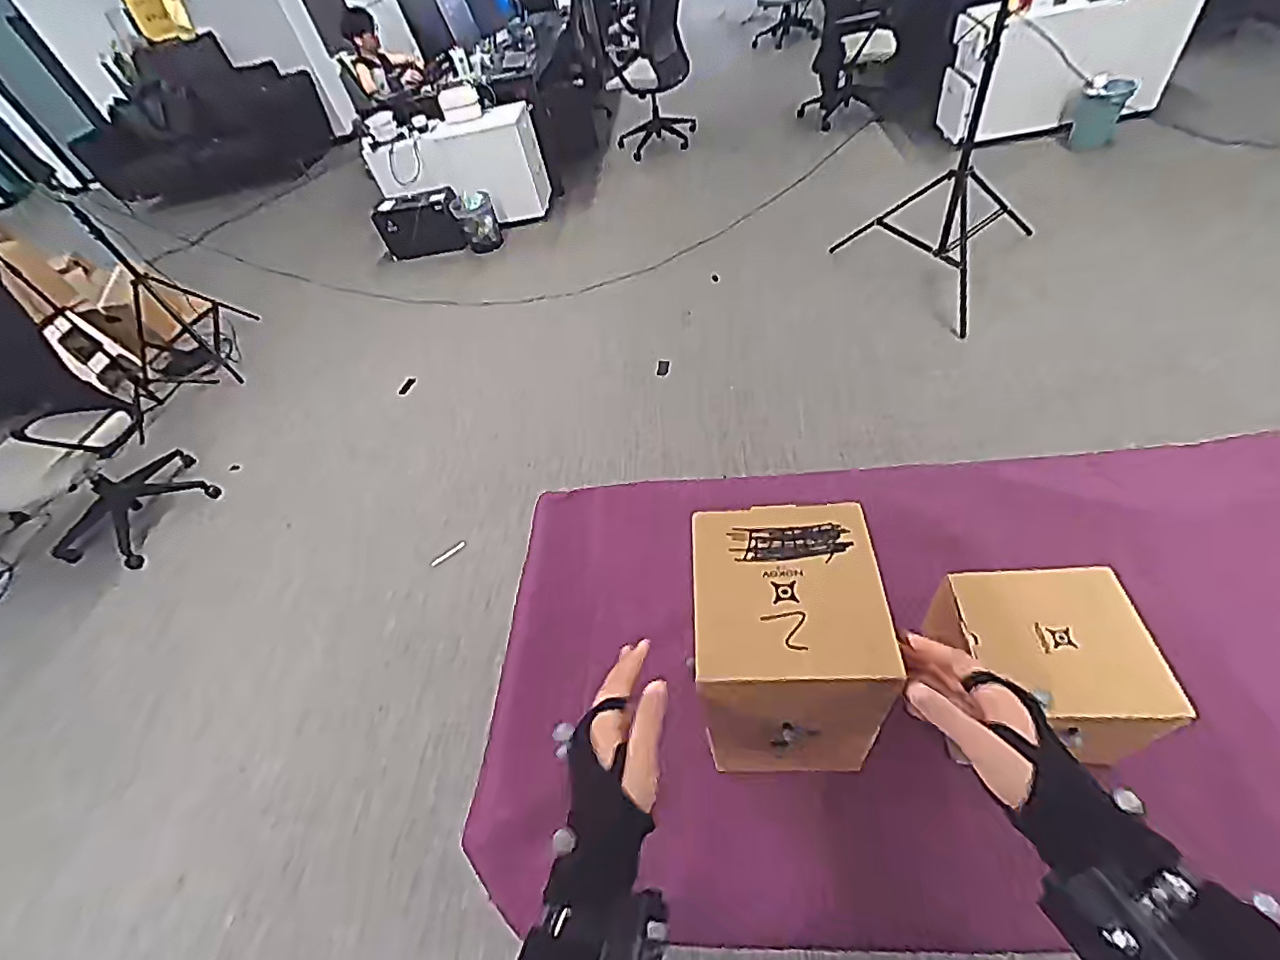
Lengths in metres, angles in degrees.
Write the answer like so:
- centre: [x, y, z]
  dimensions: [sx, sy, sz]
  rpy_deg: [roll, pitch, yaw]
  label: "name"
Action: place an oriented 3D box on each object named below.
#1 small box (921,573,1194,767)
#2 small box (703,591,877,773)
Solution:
- centre: [0.456, 0.225, 0.631]
  dimensions: [0.179, 0.176, 0.168]
  rpy_deg: [-5, 49, 10]
  label: "small box"
- centre: [0.175, 0.255, 0.671]
  dimensions: [0.179, 0.176, 0.168]
  rpy_deg: [-5, 49, 9]
  label: "small box"
